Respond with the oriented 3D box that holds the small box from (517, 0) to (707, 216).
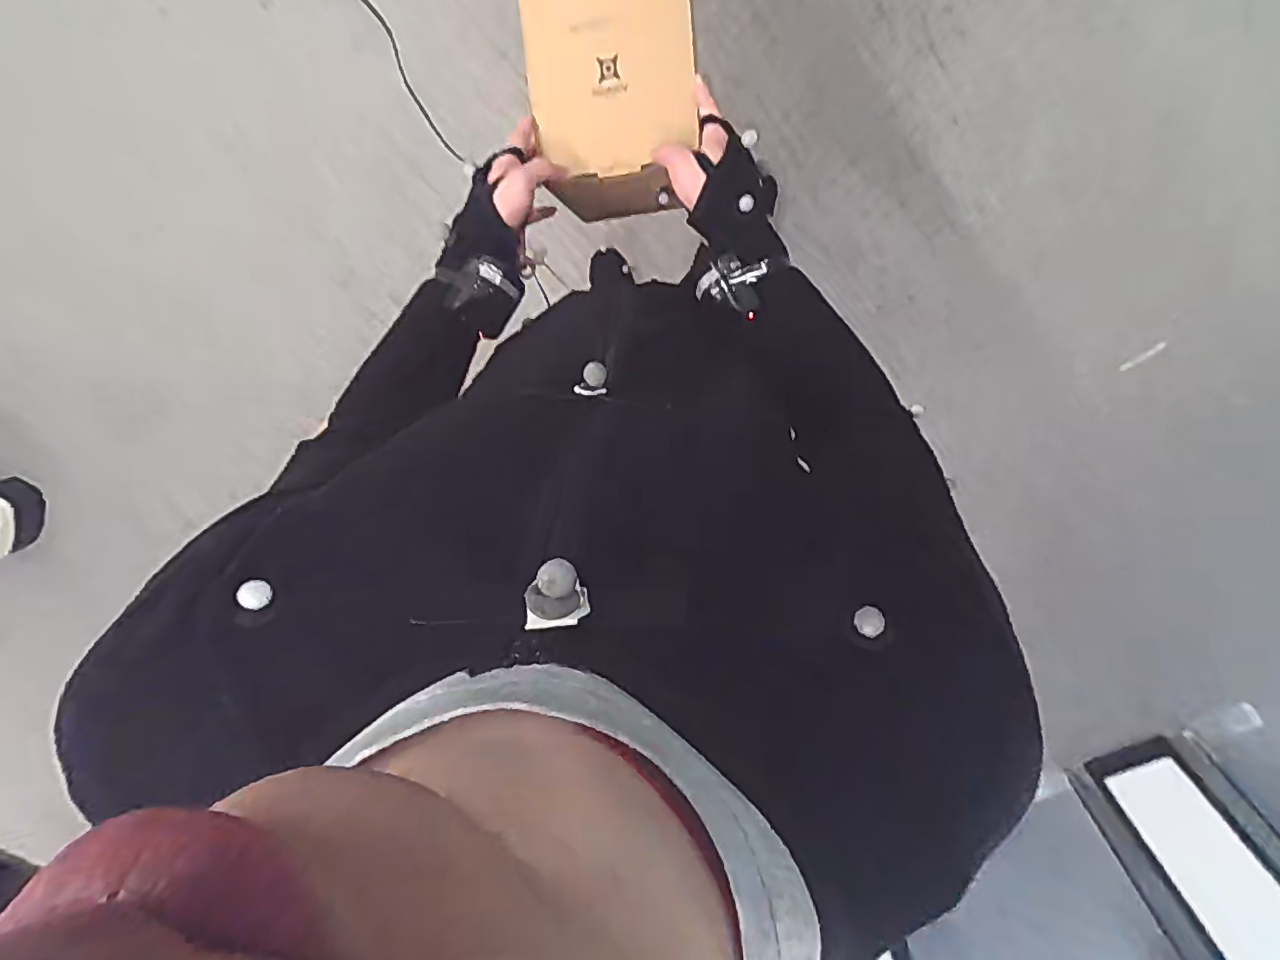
[{"bbox_3d":[-0.017,-0.408,0.597,0.168,0.176,0.179,-4,100,11],"label":"small box"}]
